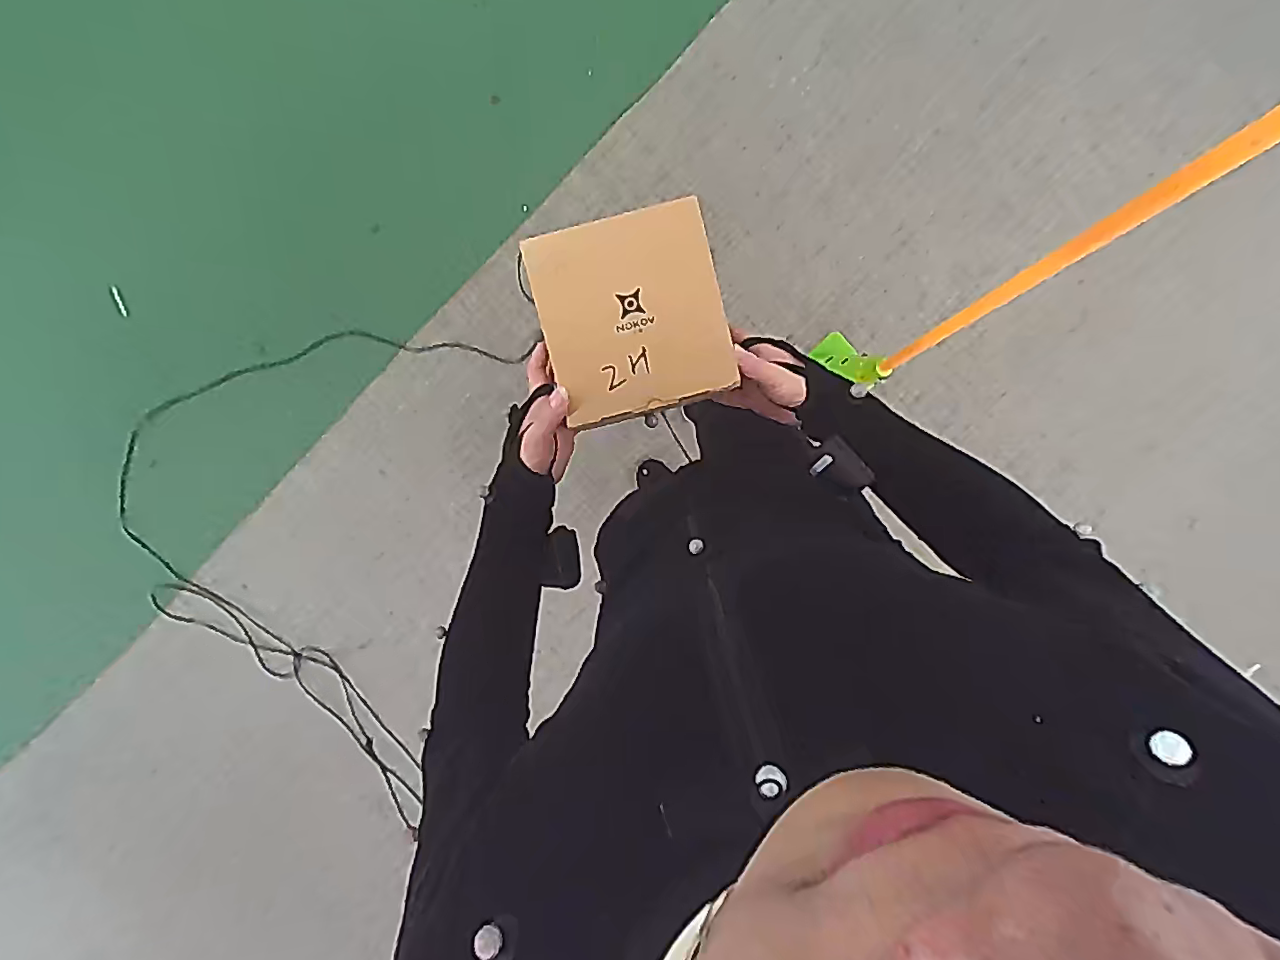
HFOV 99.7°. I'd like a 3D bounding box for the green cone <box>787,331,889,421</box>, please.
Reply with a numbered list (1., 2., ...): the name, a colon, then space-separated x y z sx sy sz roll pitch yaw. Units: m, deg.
1. green cone: 0.554 -0.282 1.406 0.202 0.368 0.200 -43 94 6
